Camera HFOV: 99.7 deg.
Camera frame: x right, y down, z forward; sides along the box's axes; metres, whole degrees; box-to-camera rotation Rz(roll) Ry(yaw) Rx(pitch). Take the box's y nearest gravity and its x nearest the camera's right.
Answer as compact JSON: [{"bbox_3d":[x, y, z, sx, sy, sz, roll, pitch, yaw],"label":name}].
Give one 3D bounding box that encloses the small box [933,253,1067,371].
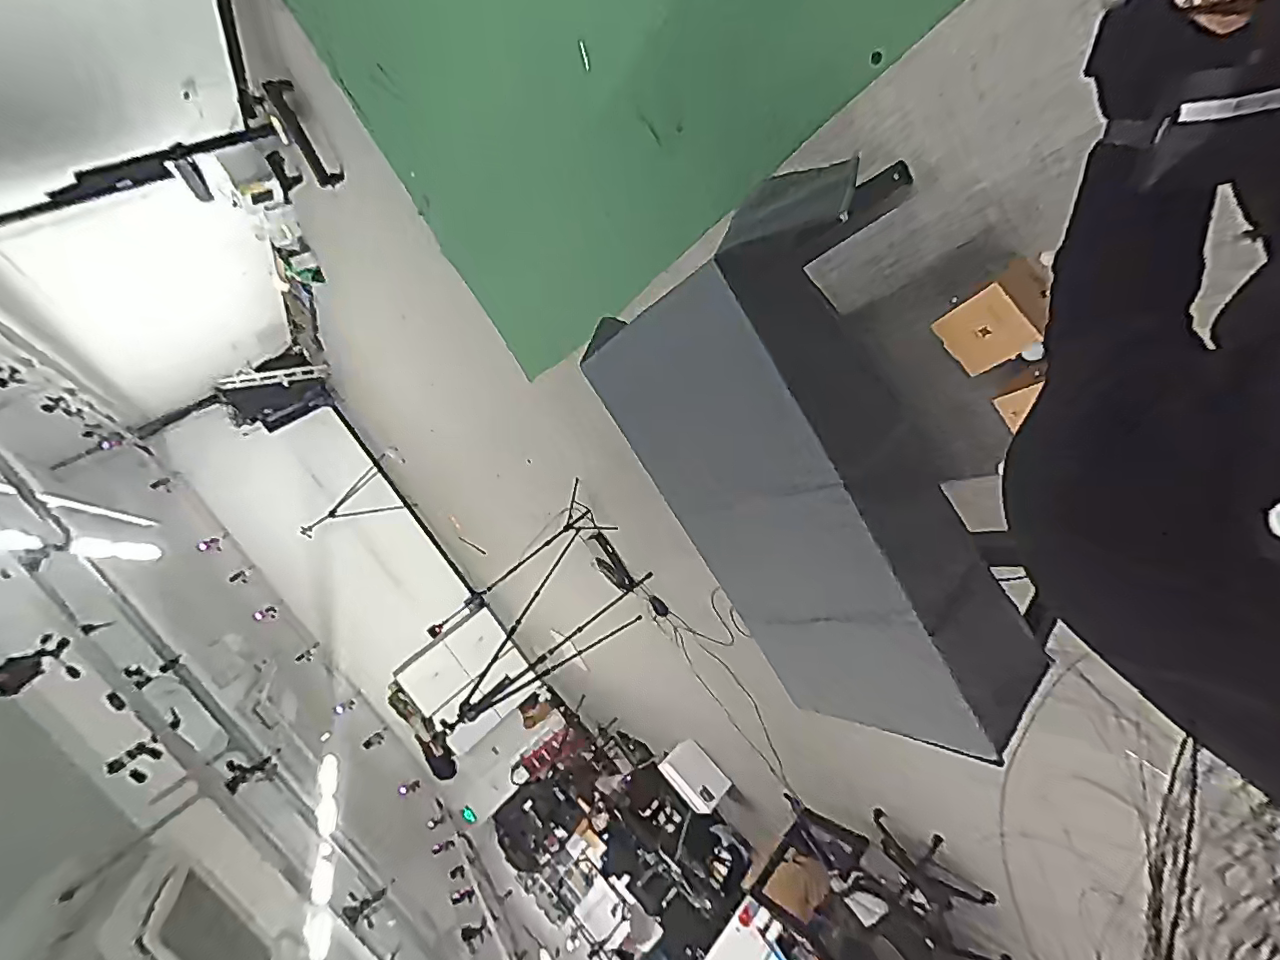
[{"bbox_3d":[0.844,-0.393,1.271,0.168,0.176,0.179,51,153,0],"label":"small box"}]
